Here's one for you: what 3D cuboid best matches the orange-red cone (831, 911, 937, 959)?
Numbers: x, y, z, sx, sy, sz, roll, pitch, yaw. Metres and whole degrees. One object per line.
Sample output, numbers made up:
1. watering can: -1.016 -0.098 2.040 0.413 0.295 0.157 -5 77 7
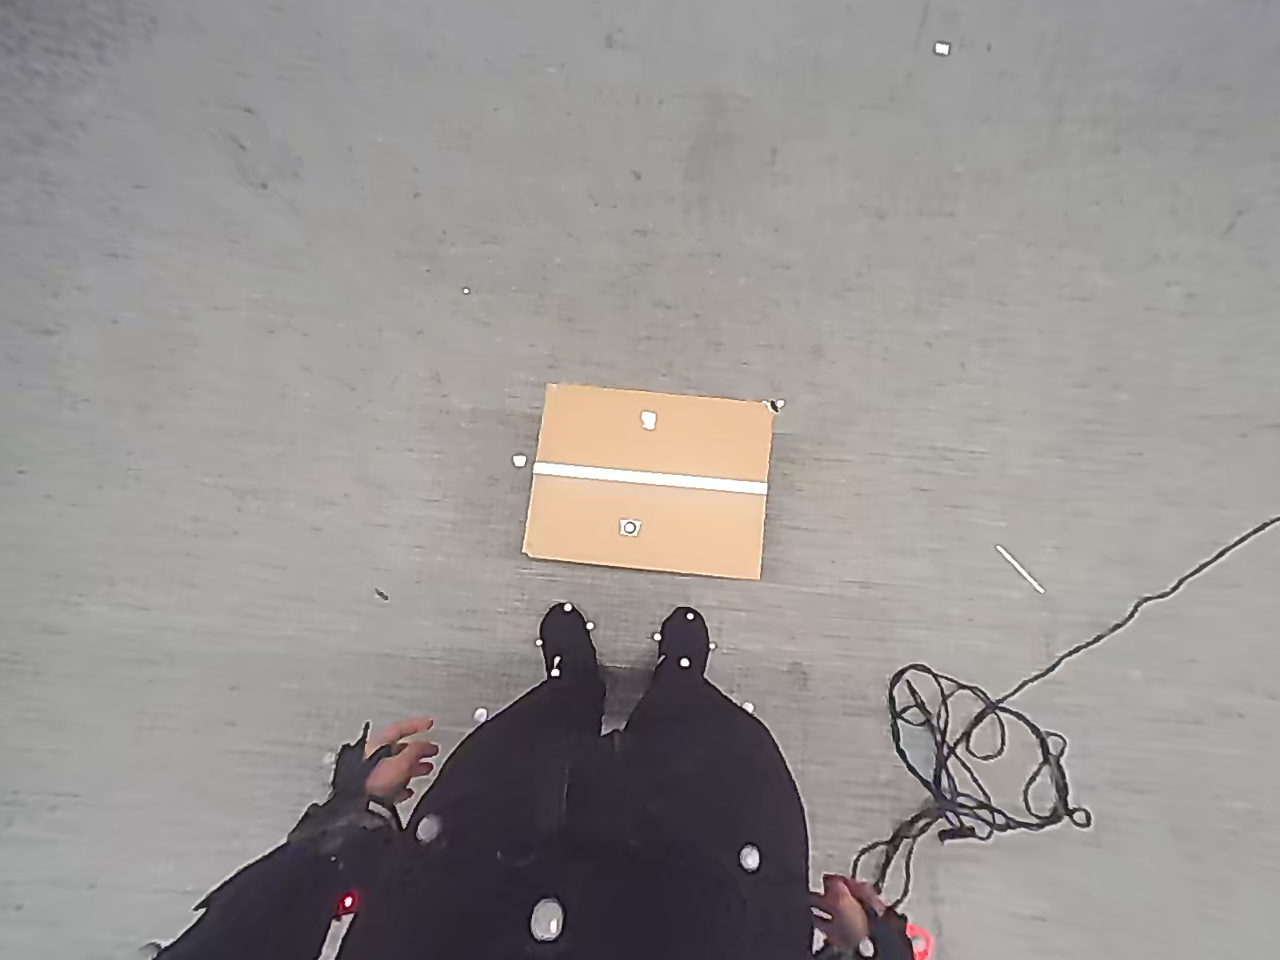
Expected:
1. orange-red cone: 0.474 0.965 0.906 0.199 0.360 0.198 24 83 2
